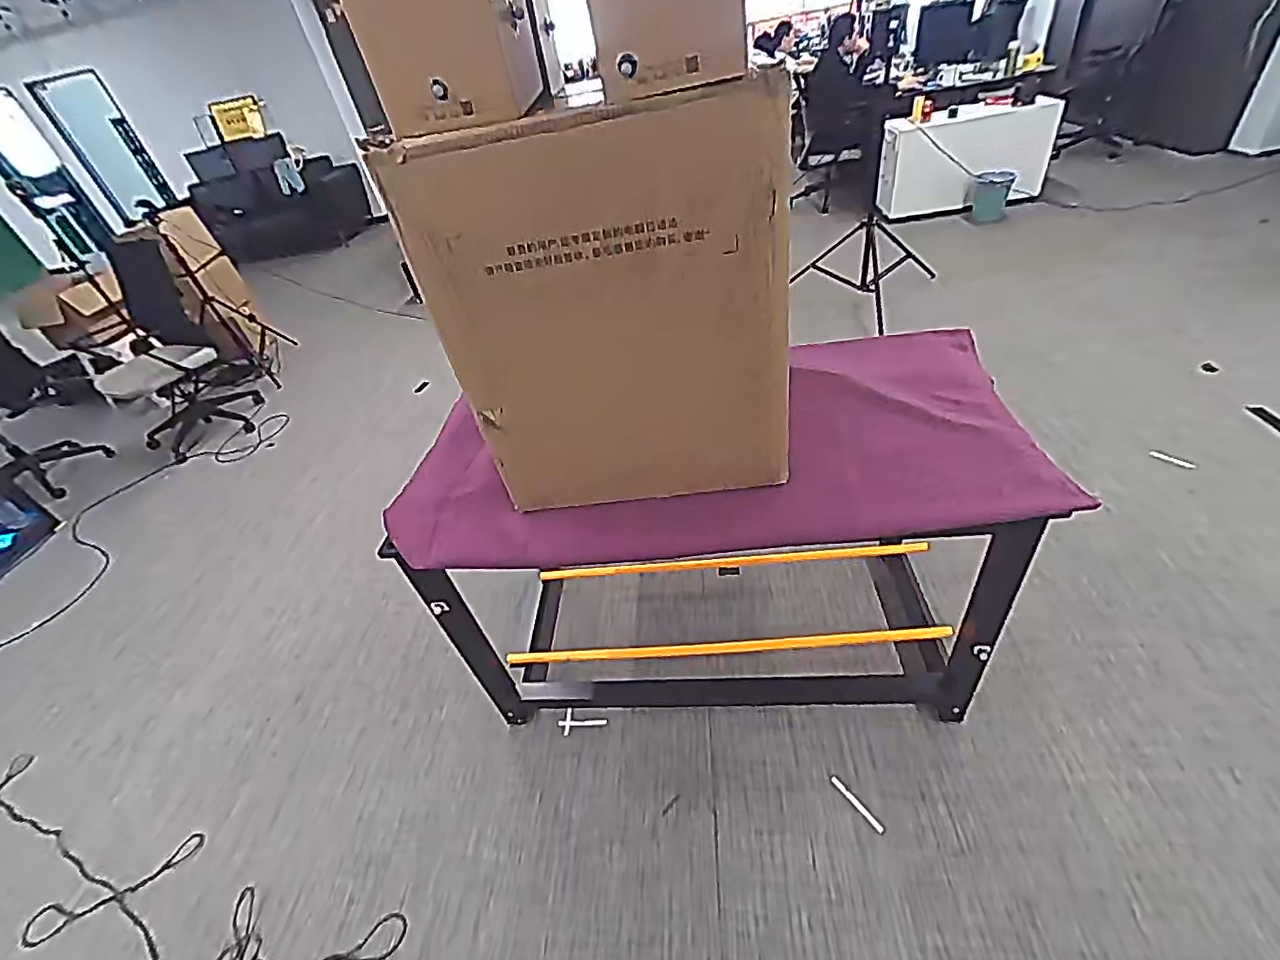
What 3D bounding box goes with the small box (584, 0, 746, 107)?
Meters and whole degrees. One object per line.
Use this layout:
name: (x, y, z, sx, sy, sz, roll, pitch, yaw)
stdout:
small box: (0.029, -0.549, 0.620, 0.168, 0.176, 0.179, -6, 42, 9)
